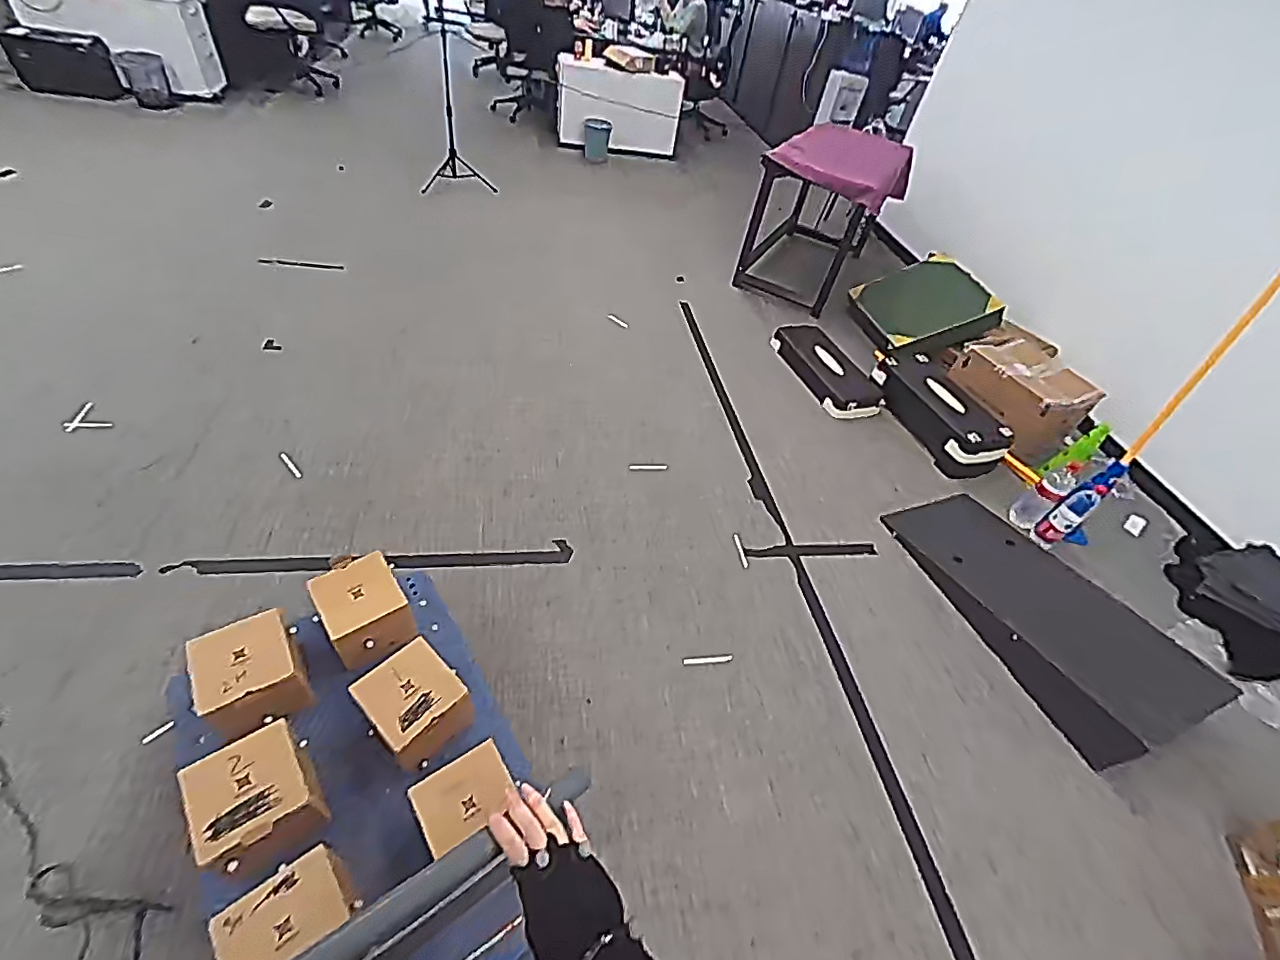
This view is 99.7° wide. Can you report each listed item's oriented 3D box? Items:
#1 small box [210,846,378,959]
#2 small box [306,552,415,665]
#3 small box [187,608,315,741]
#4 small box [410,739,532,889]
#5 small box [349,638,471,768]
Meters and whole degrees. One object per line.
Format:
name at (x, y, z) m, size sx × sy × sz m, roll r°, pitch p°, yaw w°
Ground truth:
small box at (-0.552, 0.748, 0.883) m, size 0.168 × 0.176 × 0.179 m, roll -26°, pitch 57°, yaw -33°
small box at (-0.652, 0.309, 1.277) m, size 0.168 × 0.176 × 0.179 m, roll -26°, pitch 57°, yaw -31°
small box at (-0.815, 0.411, 1.142) m, size 0.168 × 0.176 × 0.179 m, roll -22°, pitch 56°, yaw -29°
small box at (-0.319, 0.643, 1.035) m, size 0.168 × 0.176 × 0.179 m, roll -22°, pitch 54°, yaw -30°
small box at (-0.479, 0.481, 1.152) m, size 0.179 × 0.176 × 0.168 m, roll 37°, pitch 50°, yaw 22°
